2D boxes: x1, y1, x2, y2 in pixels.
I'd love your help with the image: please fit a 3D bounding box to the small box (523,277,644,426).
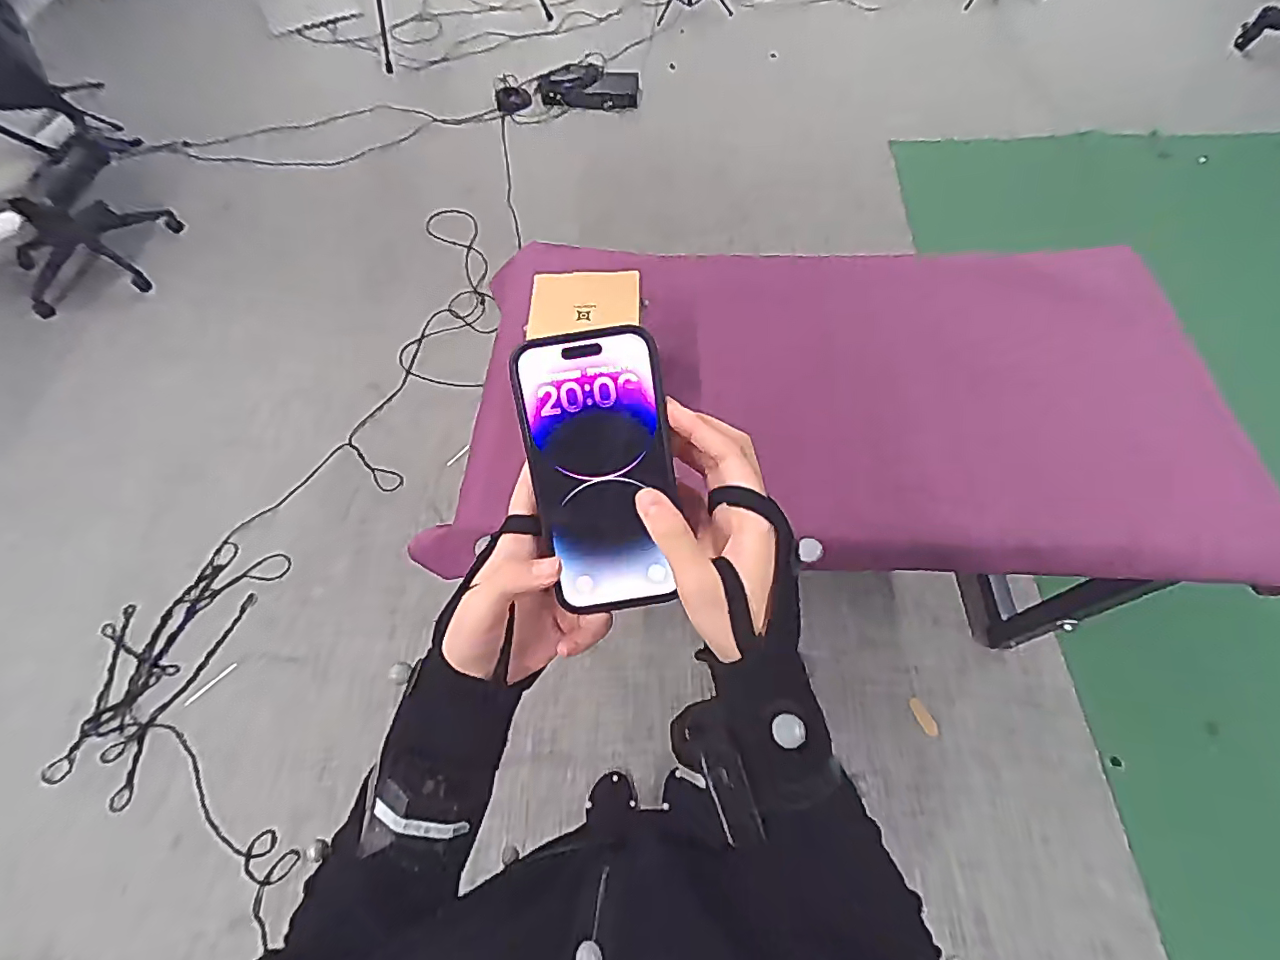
[{"bbox_3d":[-0.080,-0.199,0.870,0.168,0.176,0.179,-1,59,2],"label":"small box"}]
